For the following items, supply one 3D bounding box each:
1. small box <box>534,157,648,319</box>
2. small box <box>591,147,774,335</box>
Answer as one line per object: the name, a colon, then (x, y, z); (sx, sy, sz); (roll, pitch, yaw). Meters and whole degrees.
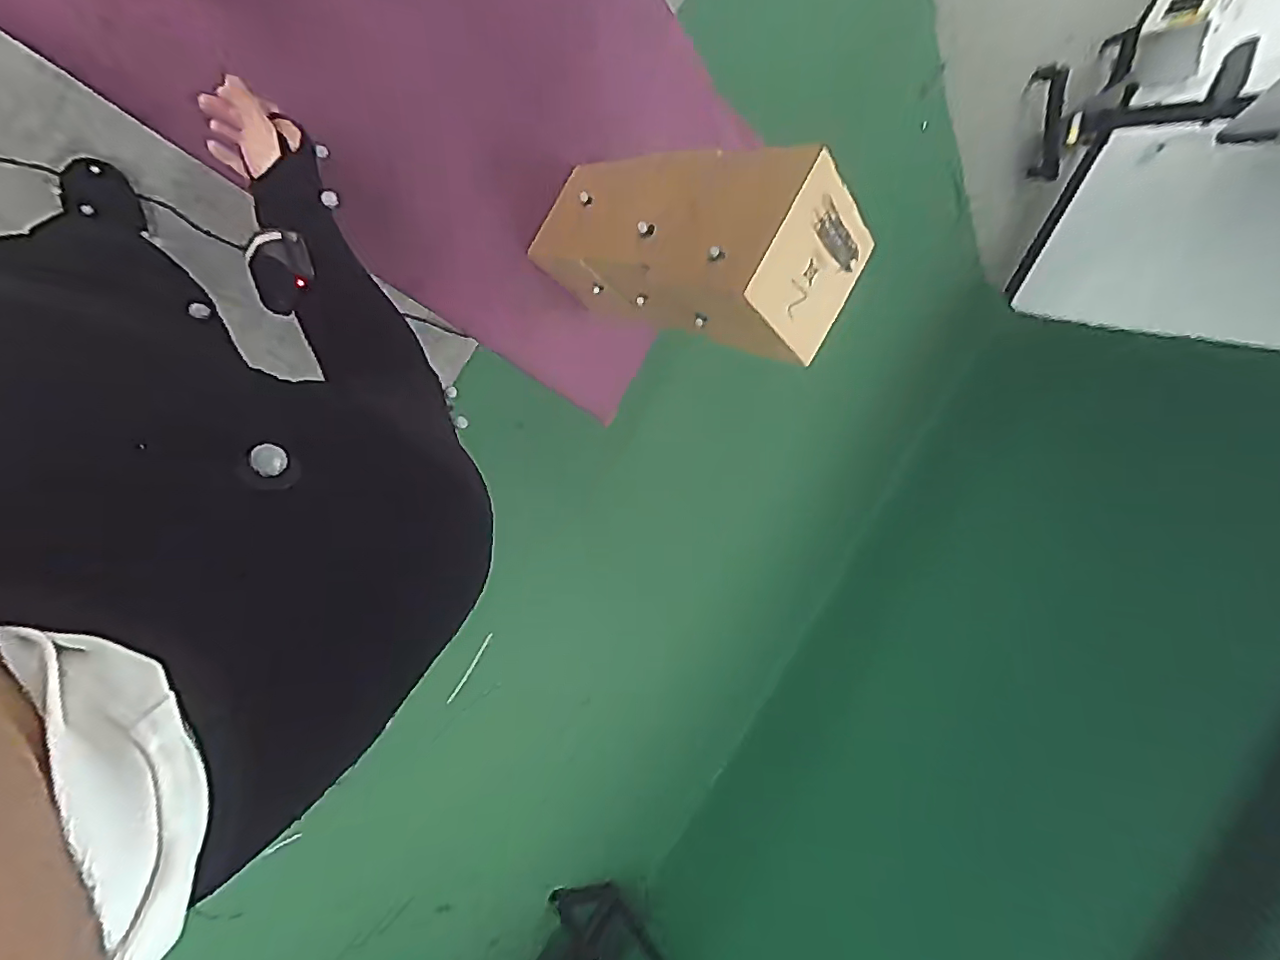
small box: (-0.047, -0.397, 0.899); (0.168, 0.176, 0.179); (29, 90, -44)
small box: (0.054, -0.339, 0.782); (0.168, 0.176, 0.179); (31, 89, -46)
